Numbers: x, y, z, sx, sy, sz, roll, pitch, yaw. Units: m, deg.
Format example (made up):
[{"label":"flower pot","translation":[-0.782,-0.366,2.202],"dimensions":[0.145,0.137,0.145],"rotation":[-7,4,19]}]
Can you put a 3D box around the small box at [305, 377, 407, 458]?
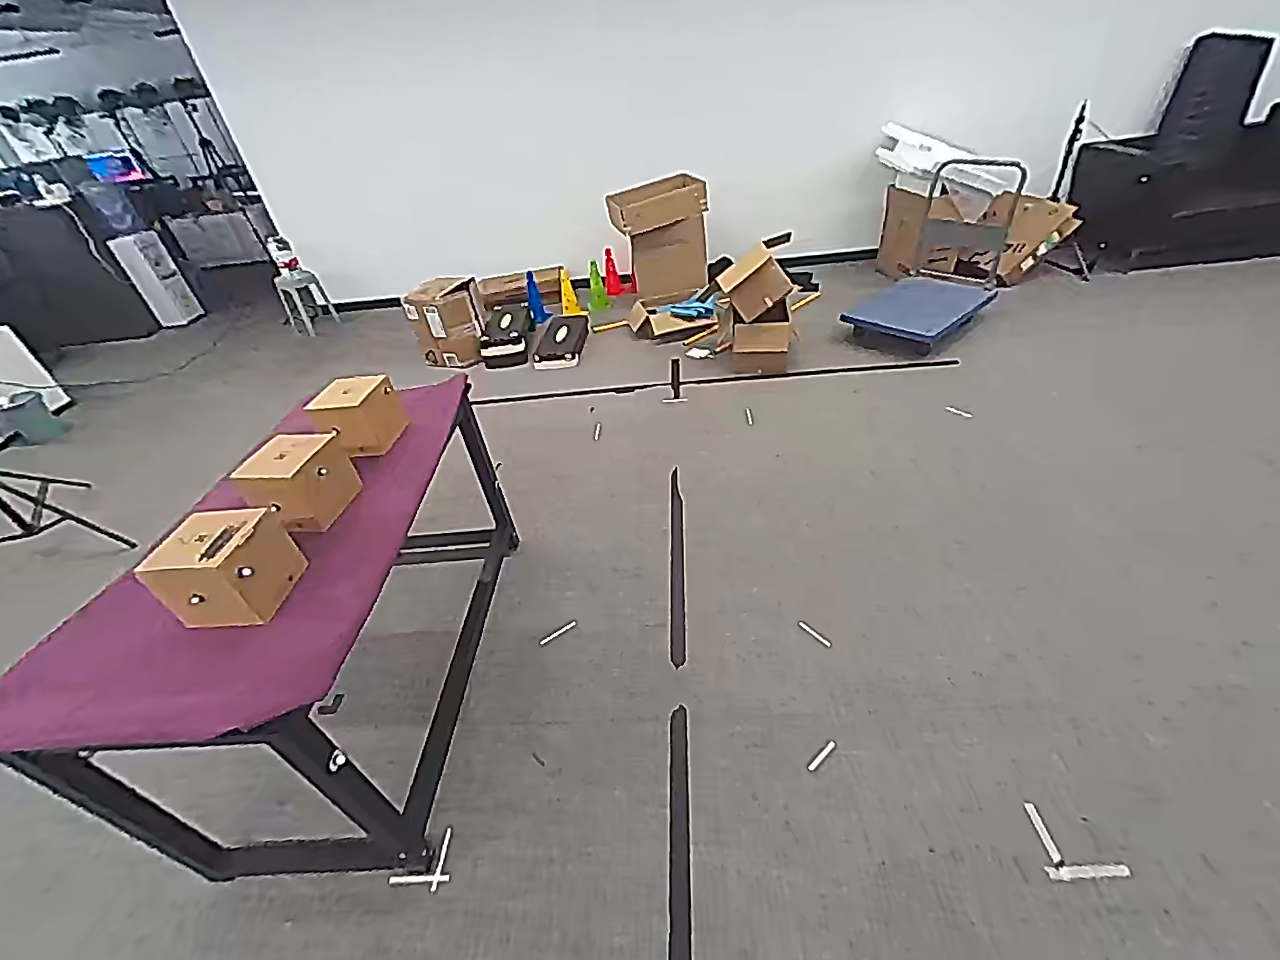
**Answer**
[{"label":"small box","translation":[-0.800,-0.175,1.546],"dimensions":[0.168,0.176,0.179],"rotation":[-3,37,8]}]

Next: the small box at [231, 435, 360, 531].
[{"label":"small box","translation":[-0.819,0.009,1.310],"dimensions":[0.168,0.176,0.179],"rotation":[1,38,10]}]
